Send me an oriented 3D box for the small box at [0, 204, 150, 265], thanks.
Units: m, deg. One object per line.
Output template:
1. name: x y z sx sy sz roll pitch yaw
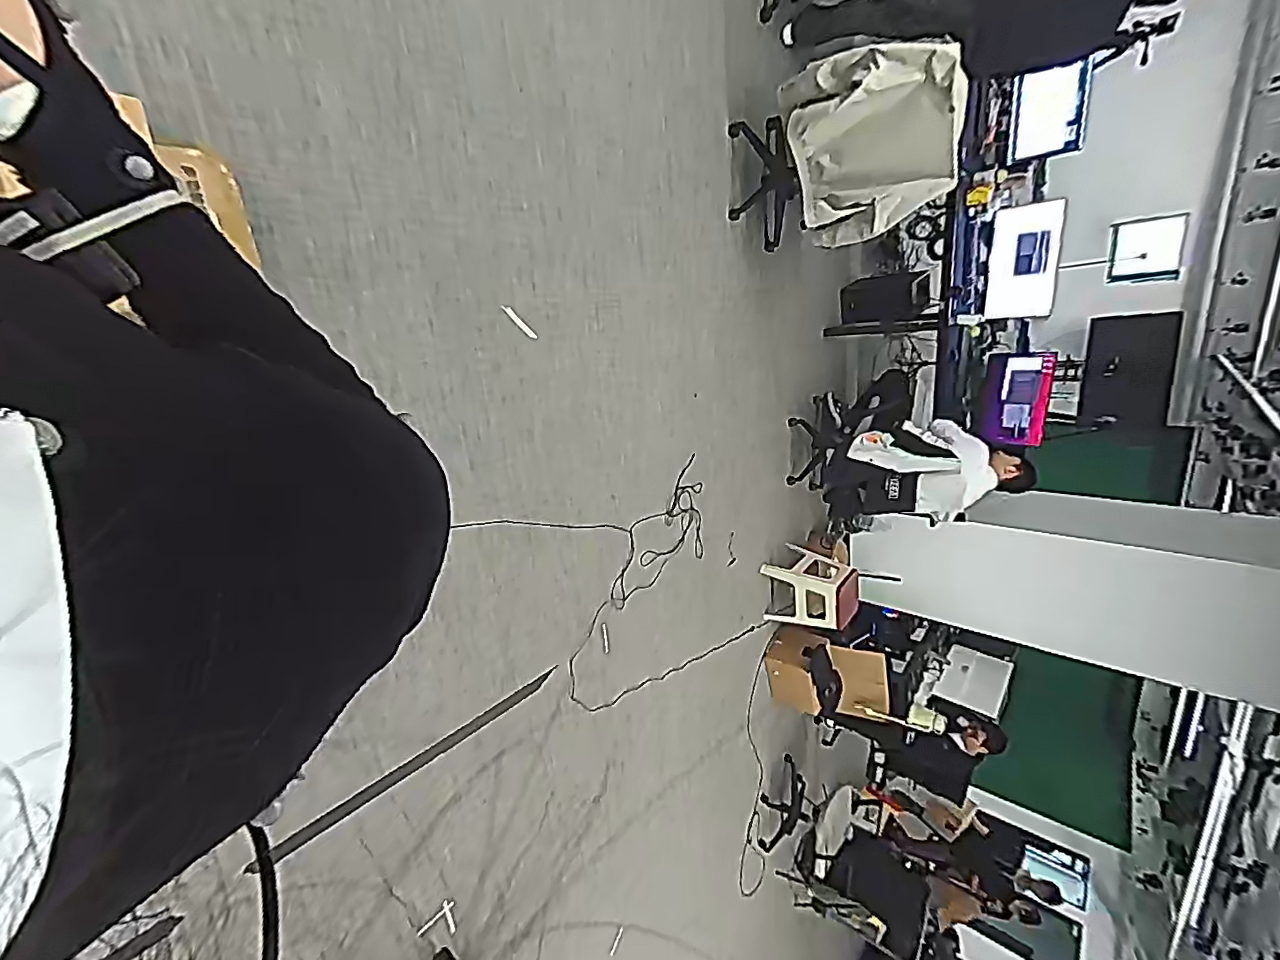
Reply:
1. small box: -0.953 -0.462 0.889 0.168 0.176 0.179 -24 114 -44

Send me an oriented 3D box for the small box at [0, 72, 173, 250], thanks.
1. small box: -0.824 -0.448 0.788 0.168 0.176 0.179 -19 111 -46
